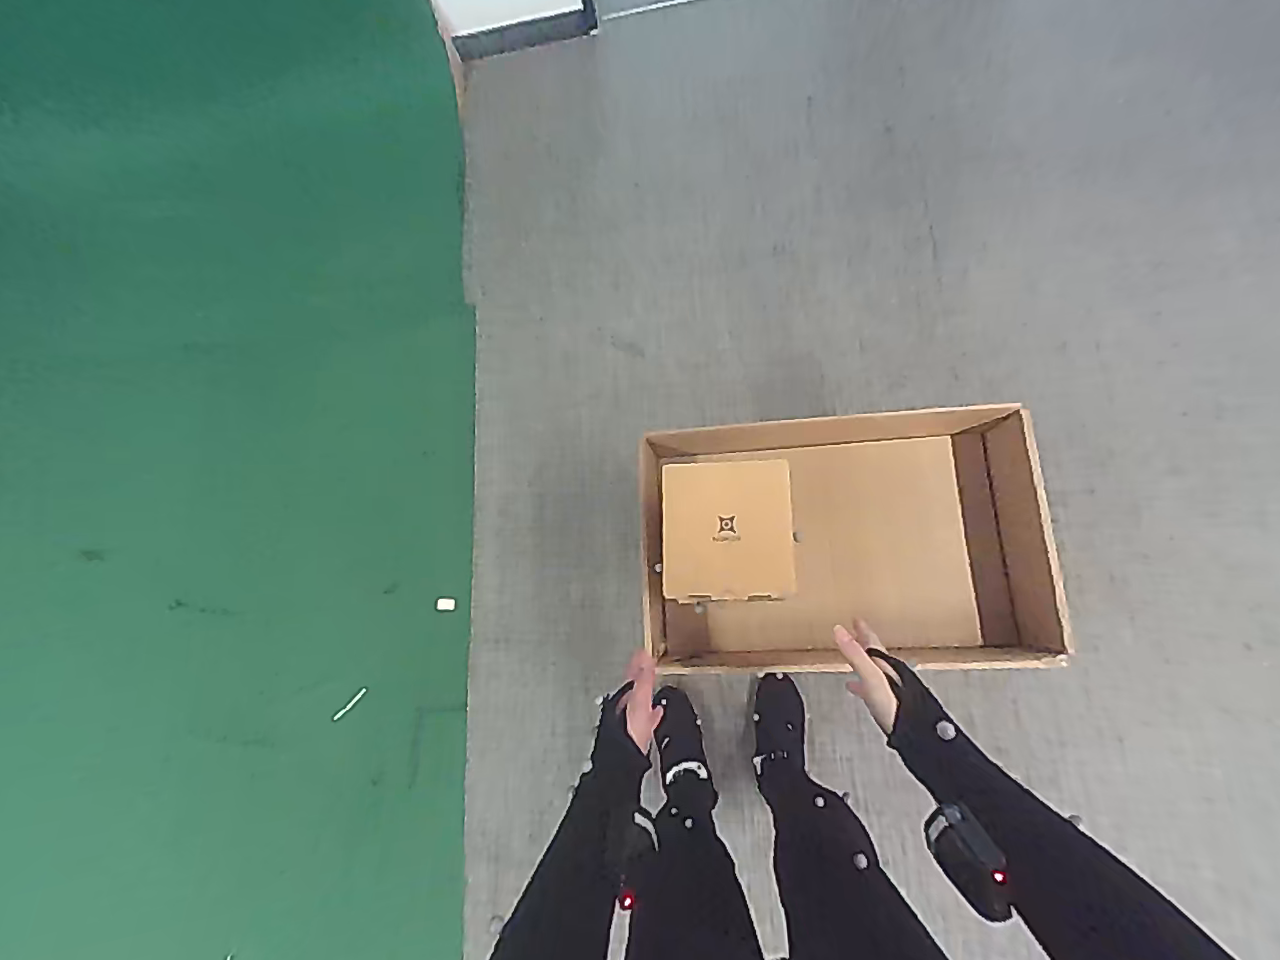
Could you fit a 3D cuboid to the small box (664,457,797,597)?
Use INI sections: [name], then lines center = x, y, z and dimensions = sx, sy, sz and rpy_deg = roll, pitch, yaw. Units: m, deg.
[small box]
center = 0.124, 0.073, 0.764
dimensions = 0.168, 0.176, 0.179
rpy_deg = -1, 78, 9
